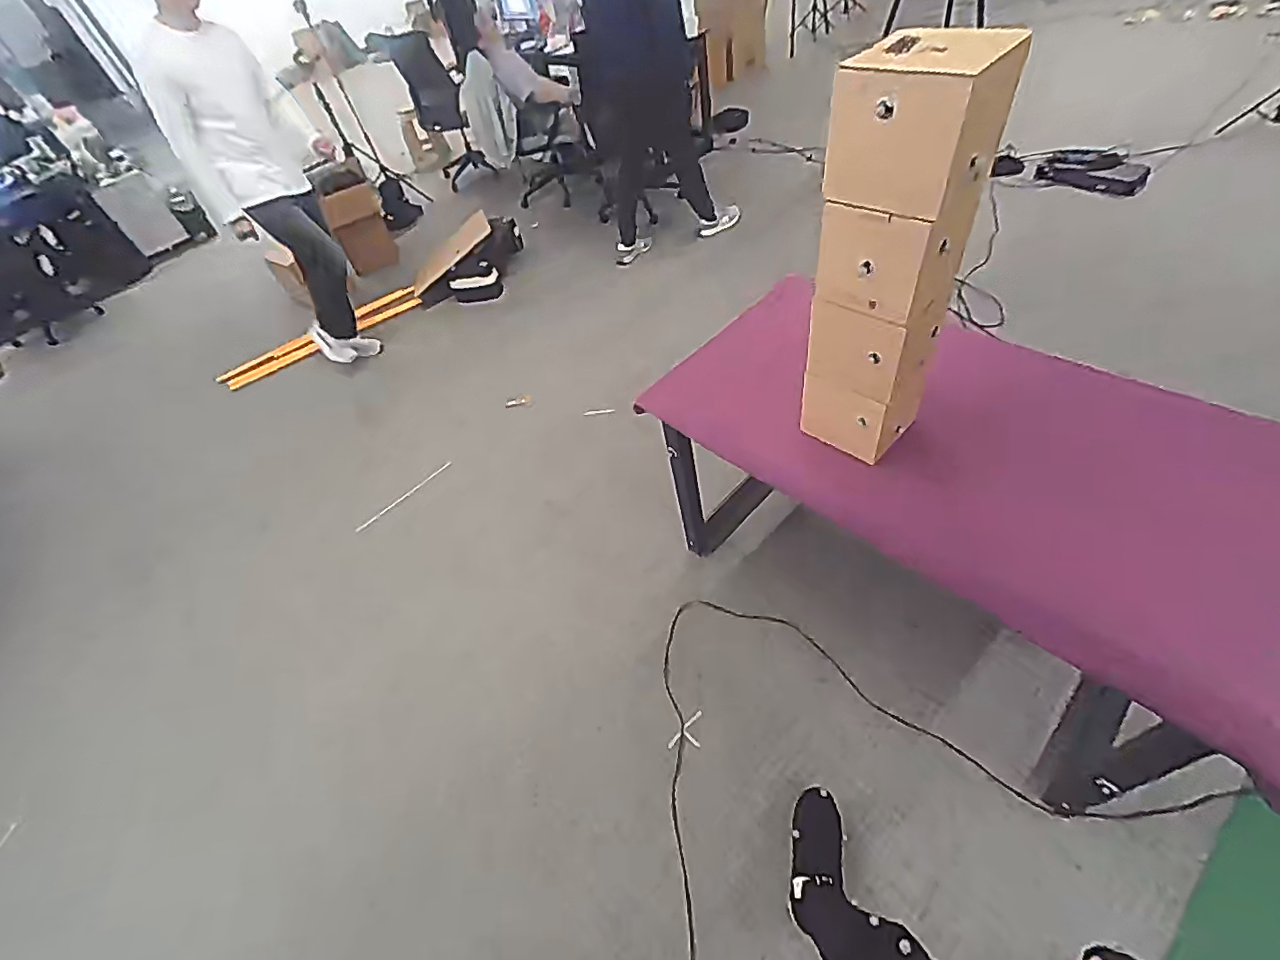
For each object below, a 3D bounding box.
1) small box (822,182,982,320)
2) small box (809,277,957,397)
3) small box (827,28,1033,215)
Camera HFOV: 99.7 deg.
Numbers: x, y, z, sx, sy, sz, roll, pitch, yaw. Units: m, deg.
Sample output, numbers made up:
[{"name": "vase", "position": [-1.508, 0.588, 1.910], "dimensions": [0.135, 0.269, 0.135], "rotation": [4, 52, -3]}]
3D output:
[{"name": "small box", "position": [0.407, -0.384, 0.862], "dimensions": [0.168, 0.176, 0.179], "rotation": [33, 64, 33]}, {"name": "small box", "position": [0.430, -0.276, 0.982], "dimensions": [0.168, 0.176, 0.179], "rotation": [-41, 53, -21]}, {"name": "small box", "position": [0.377, -0.486, 0.736], "dimensions": [0.179, 0.176, 0.168], "rotation": [33, 64, 32]}]
